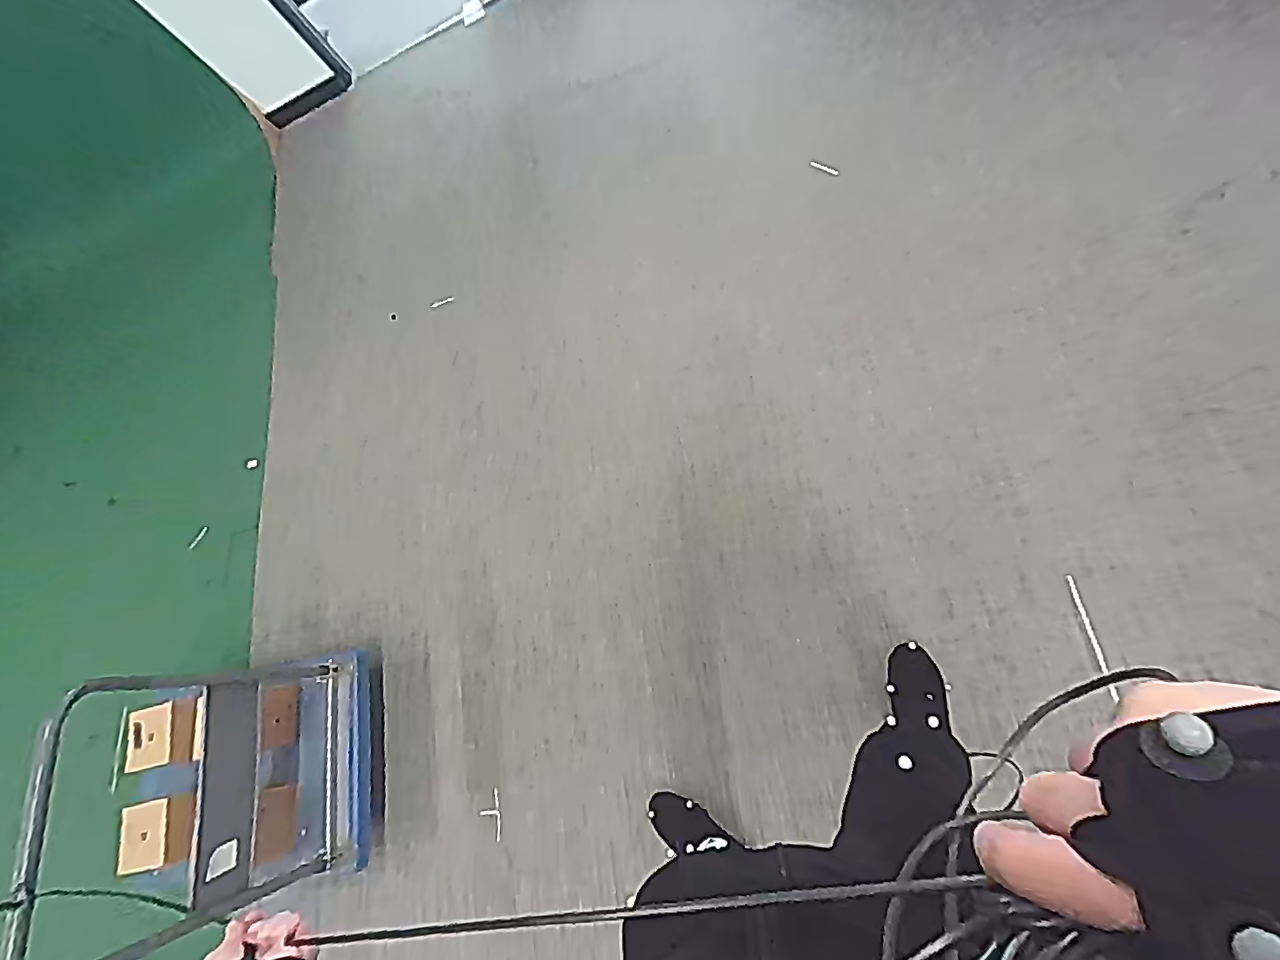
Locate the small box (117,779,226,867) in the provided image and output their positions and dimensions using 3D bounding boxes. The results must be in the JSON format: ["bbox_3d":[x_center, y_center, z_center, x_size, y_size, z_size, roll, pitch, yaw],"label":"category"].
[{"bbox_3d":[-1.327,0.972,1.543,0.179,0.176,0.168,-18,70,14],"label":"small box"}]

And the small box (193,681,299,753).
[{"bbox_3d":[-1.128,0.677,1.555,0.179,0.176,0.168,-13,72,15],"label":"small box"}]

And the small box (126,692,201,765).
[{"bbox_3d":[-1.381,0.740,1.625,0.179,0.176,0.168,-17,71,13],"label":"small box"}]
